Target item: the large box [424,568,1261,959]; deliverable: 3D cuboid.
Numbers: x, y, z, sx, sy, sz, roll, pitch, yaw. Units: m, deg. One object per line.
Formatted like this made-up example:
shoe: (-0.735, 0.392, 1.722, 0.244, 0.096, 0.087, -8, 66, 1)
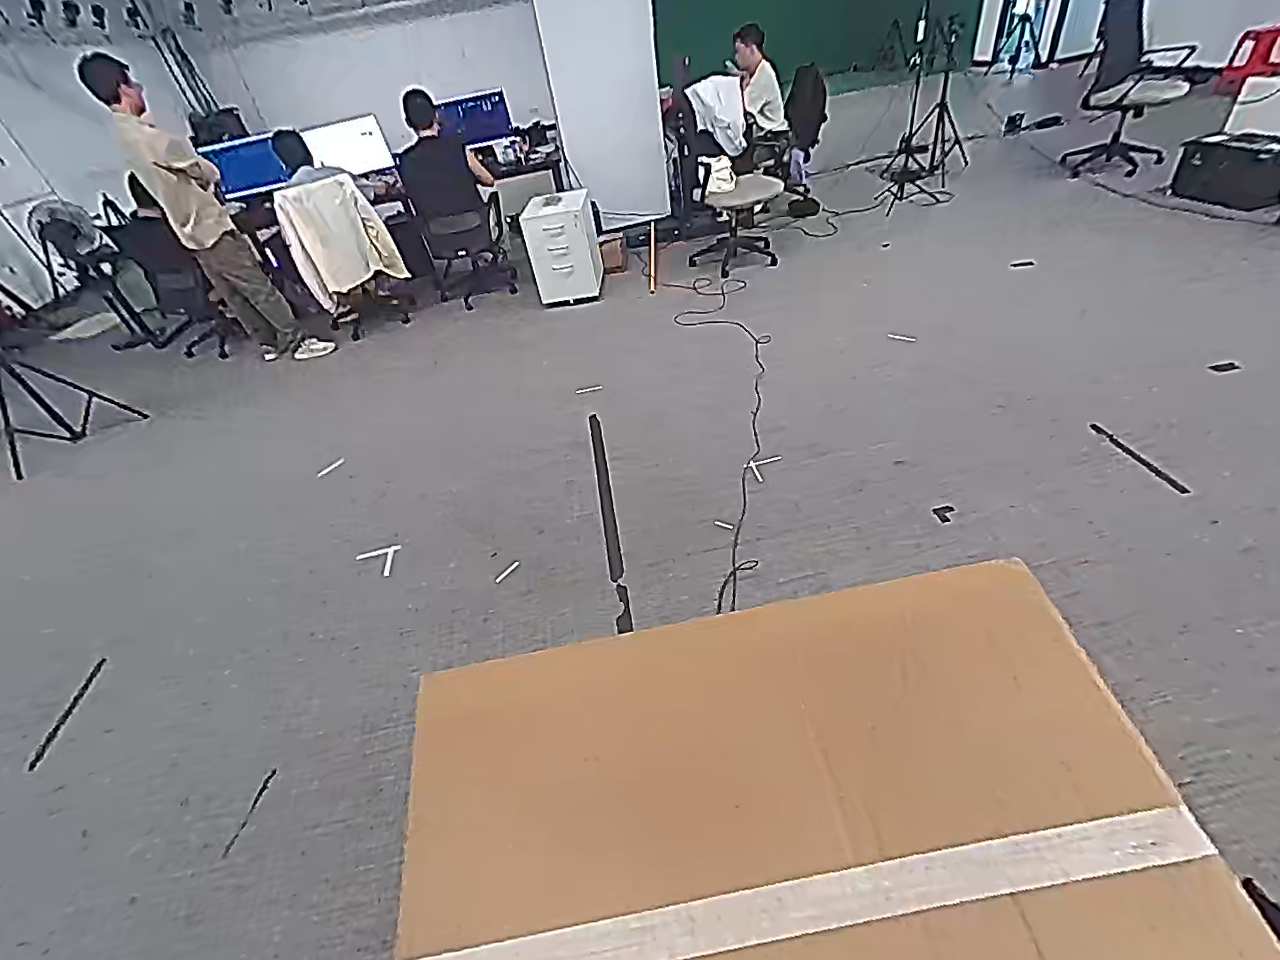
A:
large box: (0.098, 0.308, 0.395, 0.408, 0.320, 0.320, -12, 54, 1)
